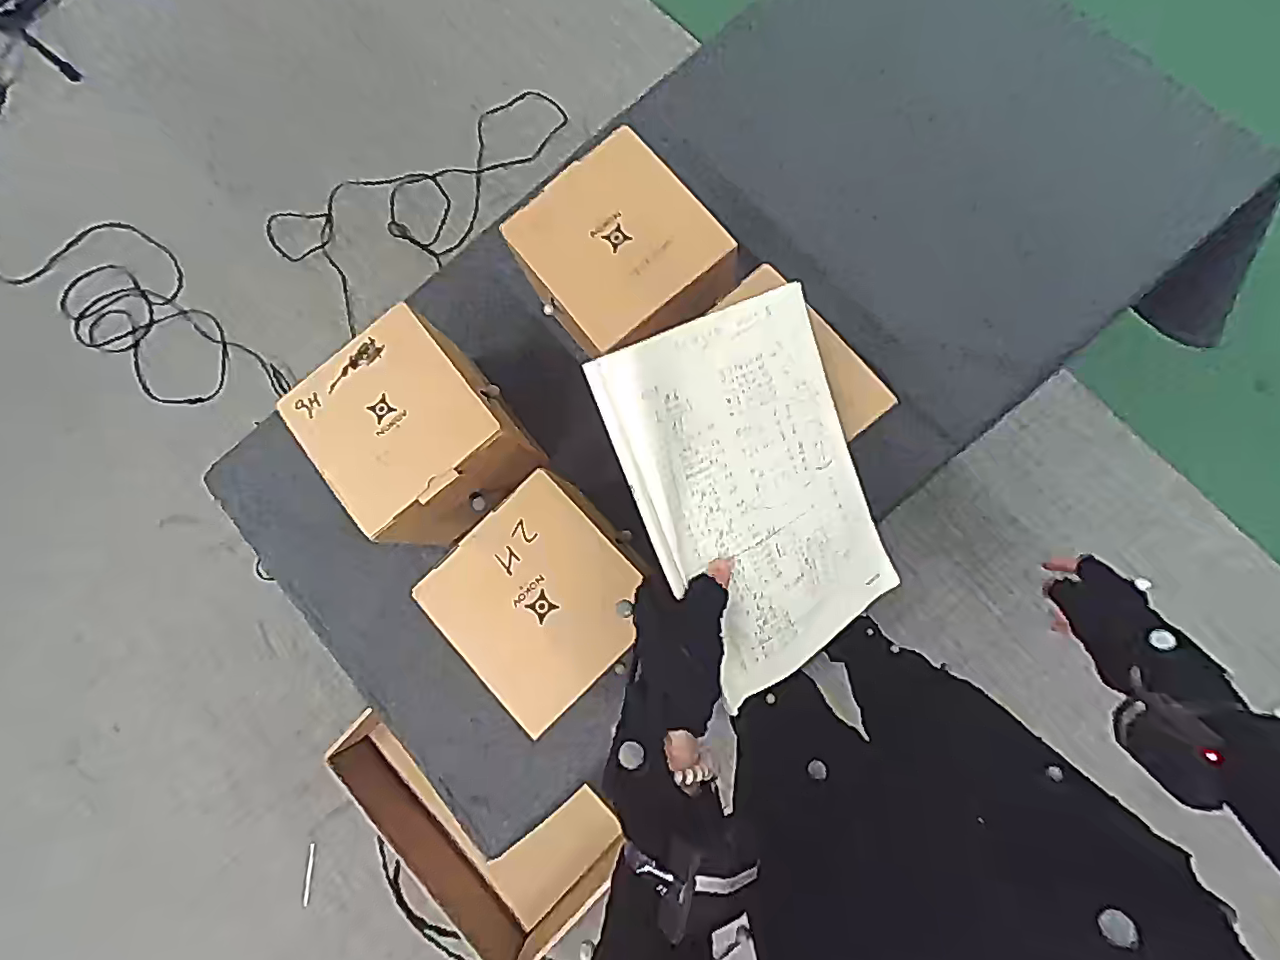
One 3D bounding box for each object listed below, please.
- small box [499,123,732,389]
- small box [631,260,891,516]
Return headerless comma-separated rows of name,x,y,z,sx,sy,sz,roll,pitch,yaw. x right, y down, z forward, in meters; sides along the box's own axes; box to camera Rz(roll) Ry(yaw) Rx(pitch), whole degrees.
small box,-0.019,-0.230,0.600,0.168,0.176,0.179,-39,80,1
small box,0.112,-0.078,0.561,0.168,0.176,0.179,-39,80,0
